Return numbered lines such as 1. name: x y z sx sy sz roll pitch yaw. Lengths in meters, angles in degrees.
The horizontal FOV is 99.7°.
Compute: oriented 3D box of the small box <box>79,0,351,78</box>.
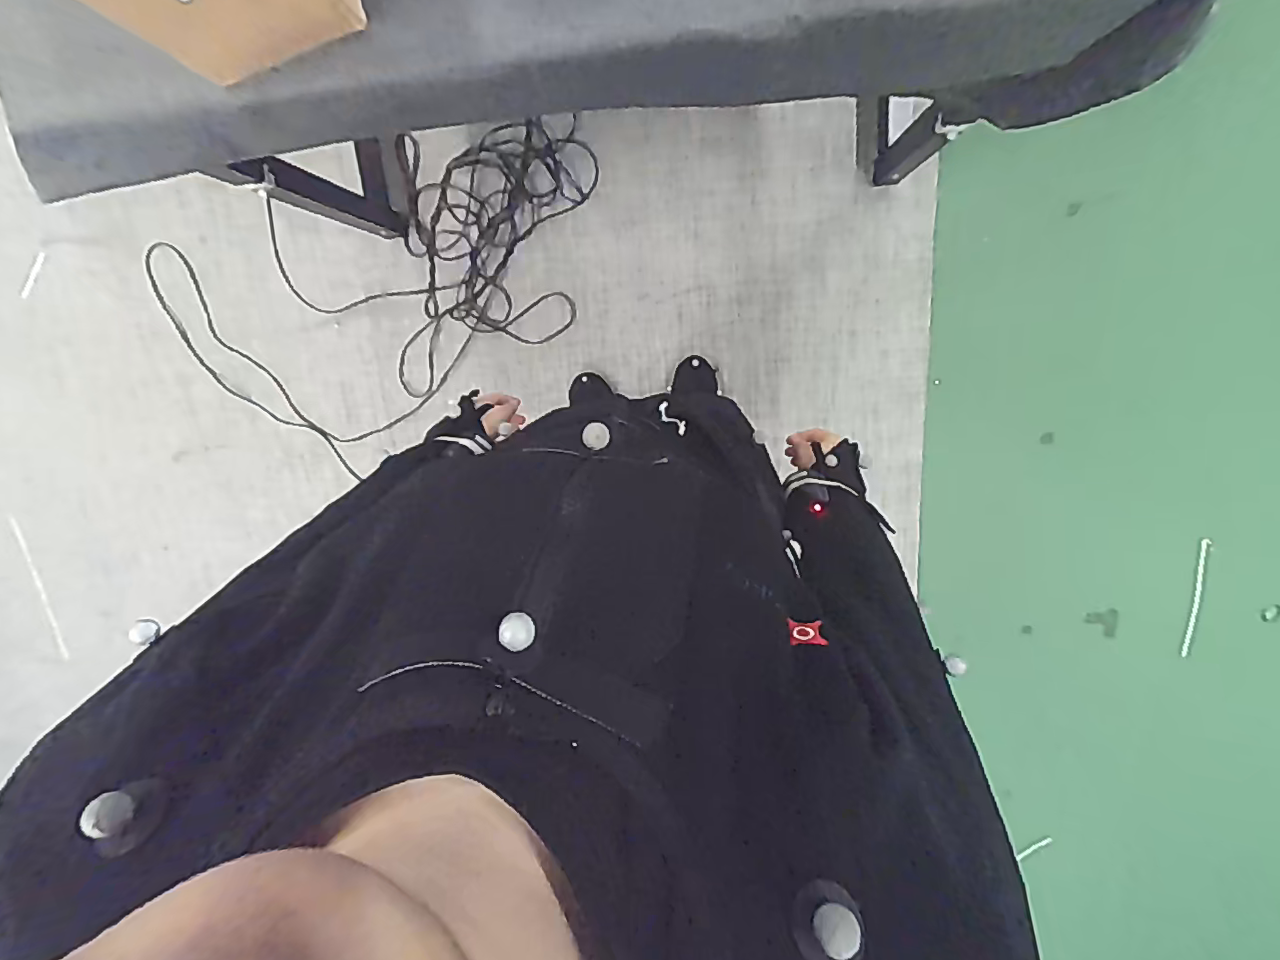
1. small box: -0.378 -0.487 0.452 0.179 0.176 0.168 -15 101 8
